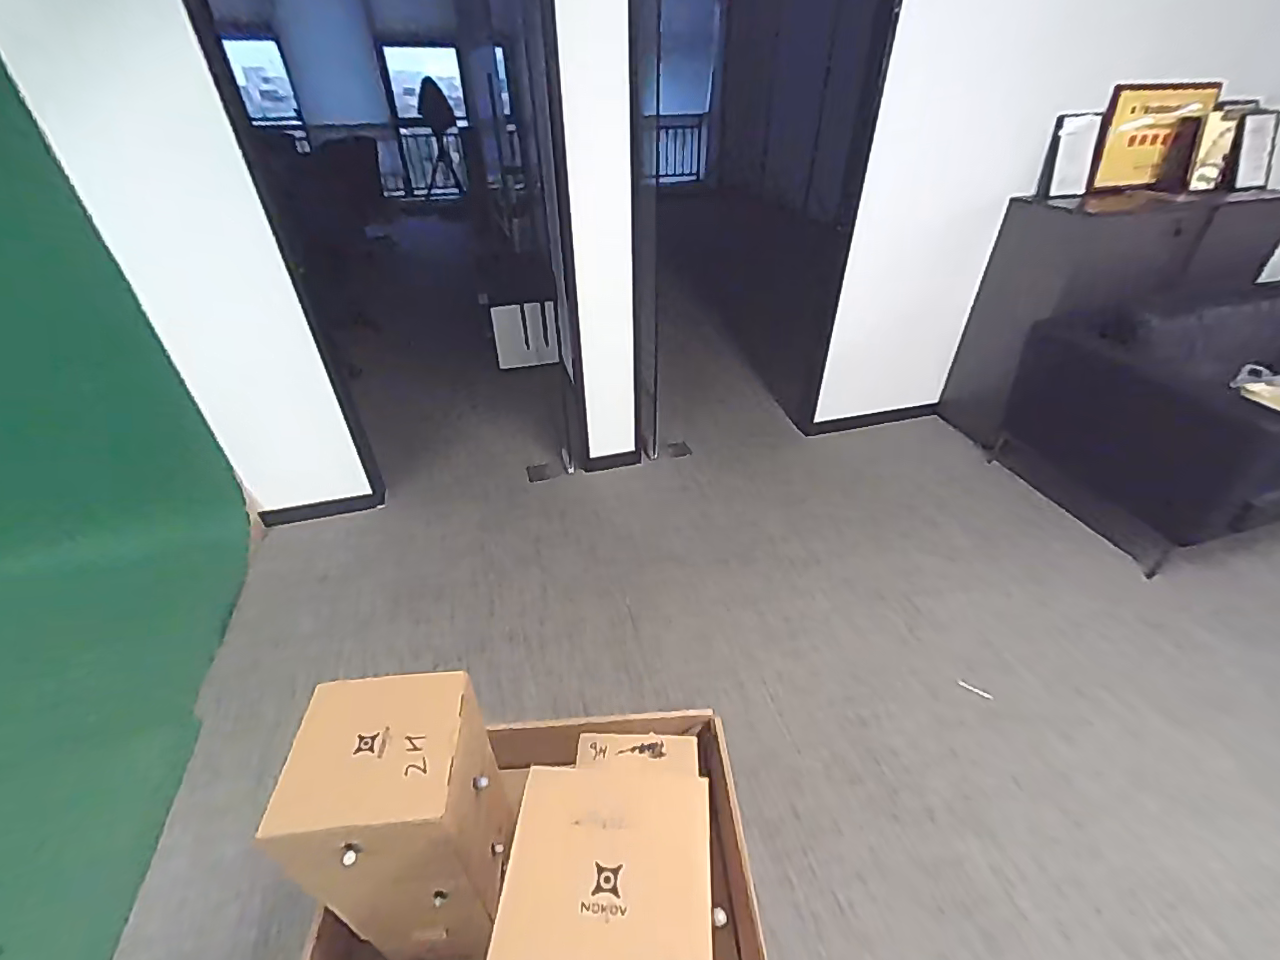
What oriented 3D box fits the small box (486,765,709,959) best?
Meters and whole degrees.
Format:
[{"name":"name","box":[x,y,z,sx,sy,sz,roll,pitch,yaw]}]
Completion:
[{"name":"small box","box":[-0.026,0.385,0.480,0.168,0.176,0.179,3,38,3]}]

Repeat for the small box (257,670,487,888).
[{"name":"small box","box":[-0.288,0.346,0.629,0.179,0.176,0.168,-2,37,-6]}]

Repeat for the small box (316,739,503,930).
[{"name":"small box","box":[-0.292,0.477,0.730,0.179,0.176,0.168,-2,37,-5]}]

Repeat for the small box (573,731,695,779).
[{"name":"small box","box":[-0.010,0.471,0.737,0.168,0.176,0.179,2,38,1]}]
